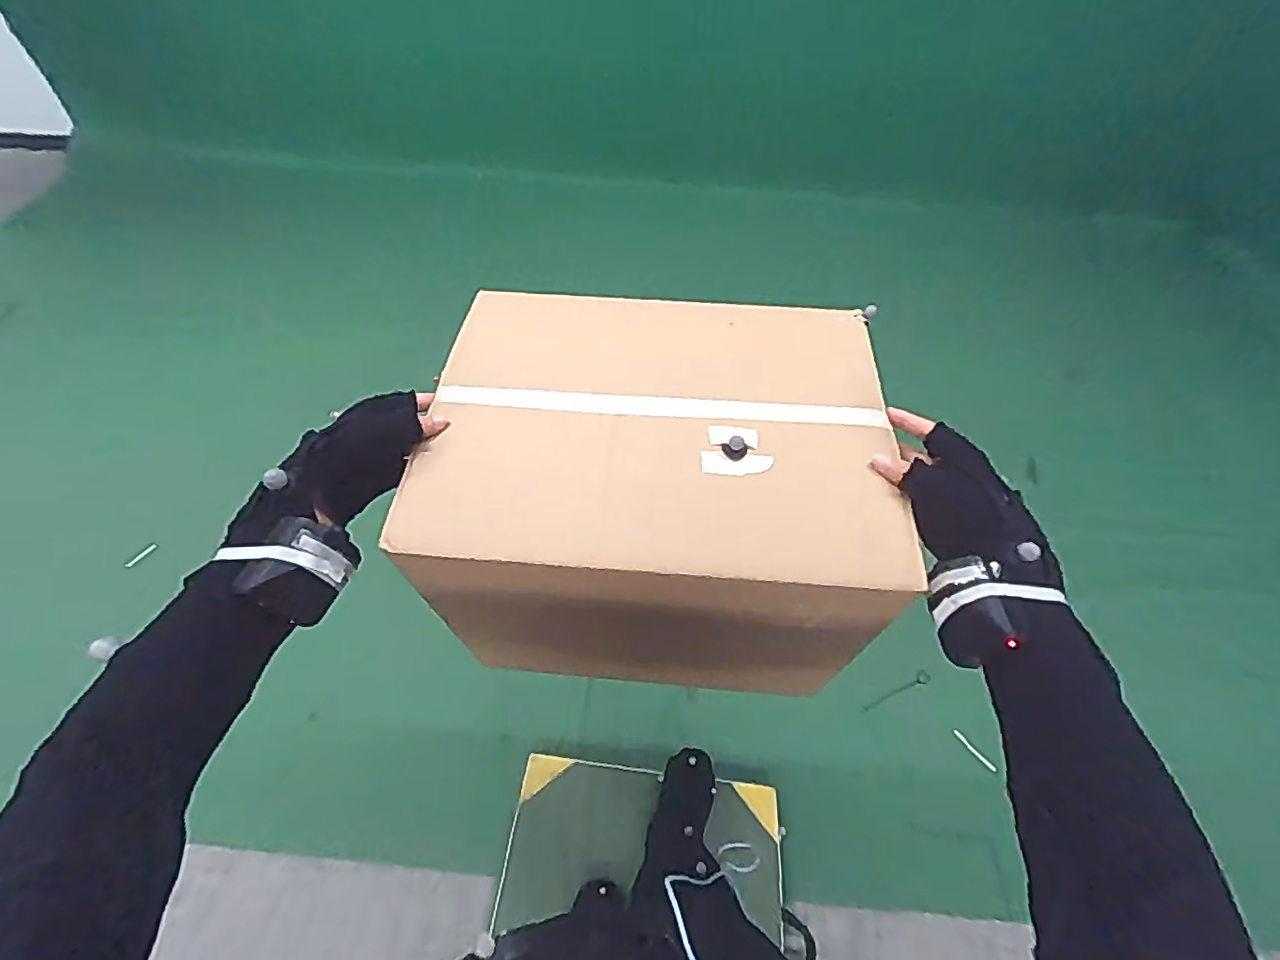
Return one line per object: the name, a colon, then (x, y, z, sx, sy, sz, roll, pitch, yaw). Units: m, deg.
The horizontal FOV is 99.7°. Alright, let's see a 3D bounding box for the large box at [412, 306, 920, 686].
large box: (0.024, 0.029, 0.621, 0.408, 0.320, 0.320, 4, 56, 2)
